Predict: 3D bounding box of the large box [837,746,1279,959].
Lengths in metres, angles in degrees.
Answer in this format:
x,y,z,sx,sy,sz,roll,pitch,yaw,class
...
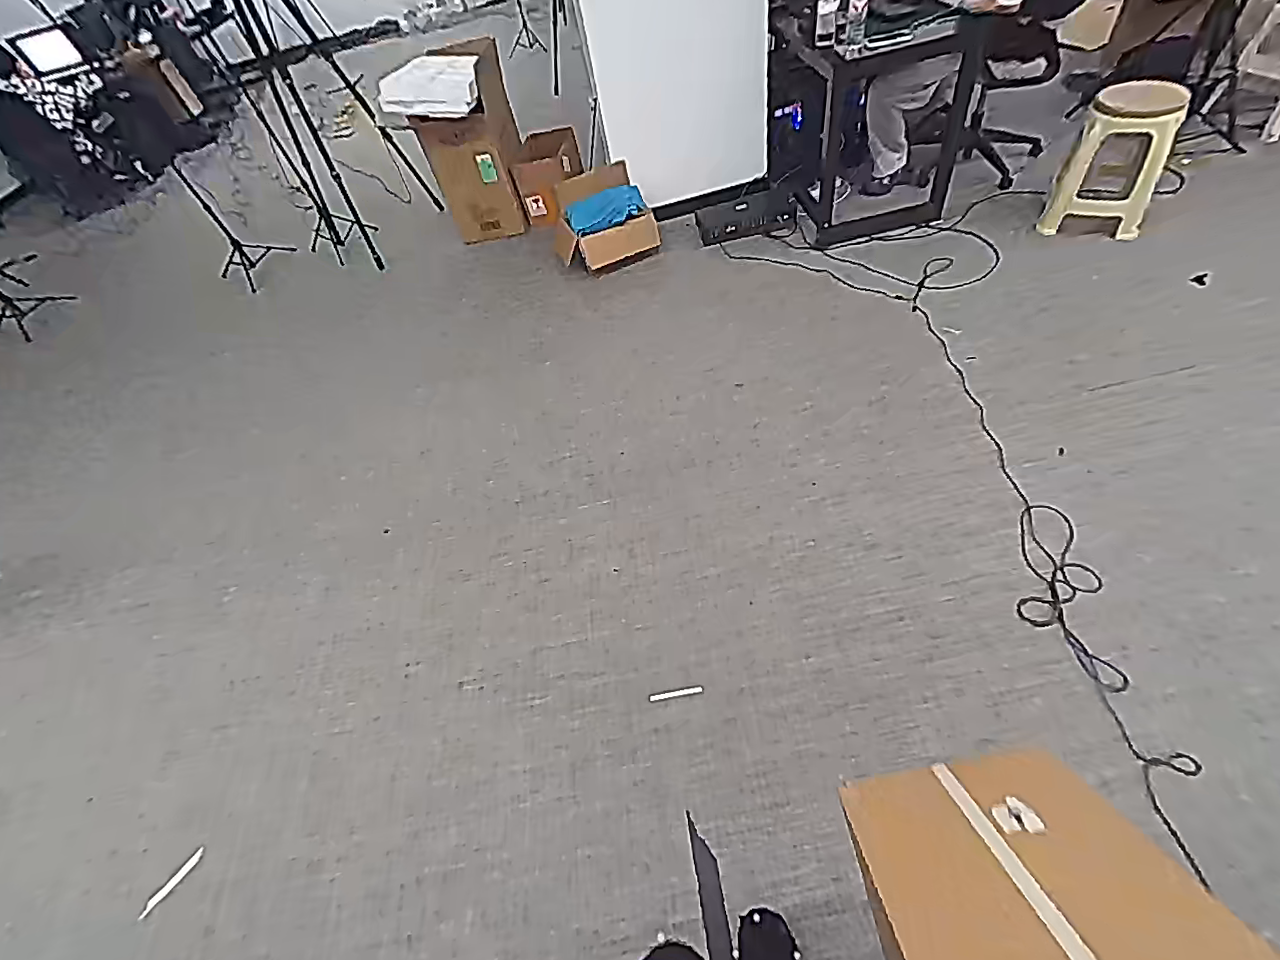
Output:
x,y,z,sx,sy,sz,roll,pitch,yaw,class
0.485,0.606,0.658,0.320,0.408,0.320,-15,92,6,large box
